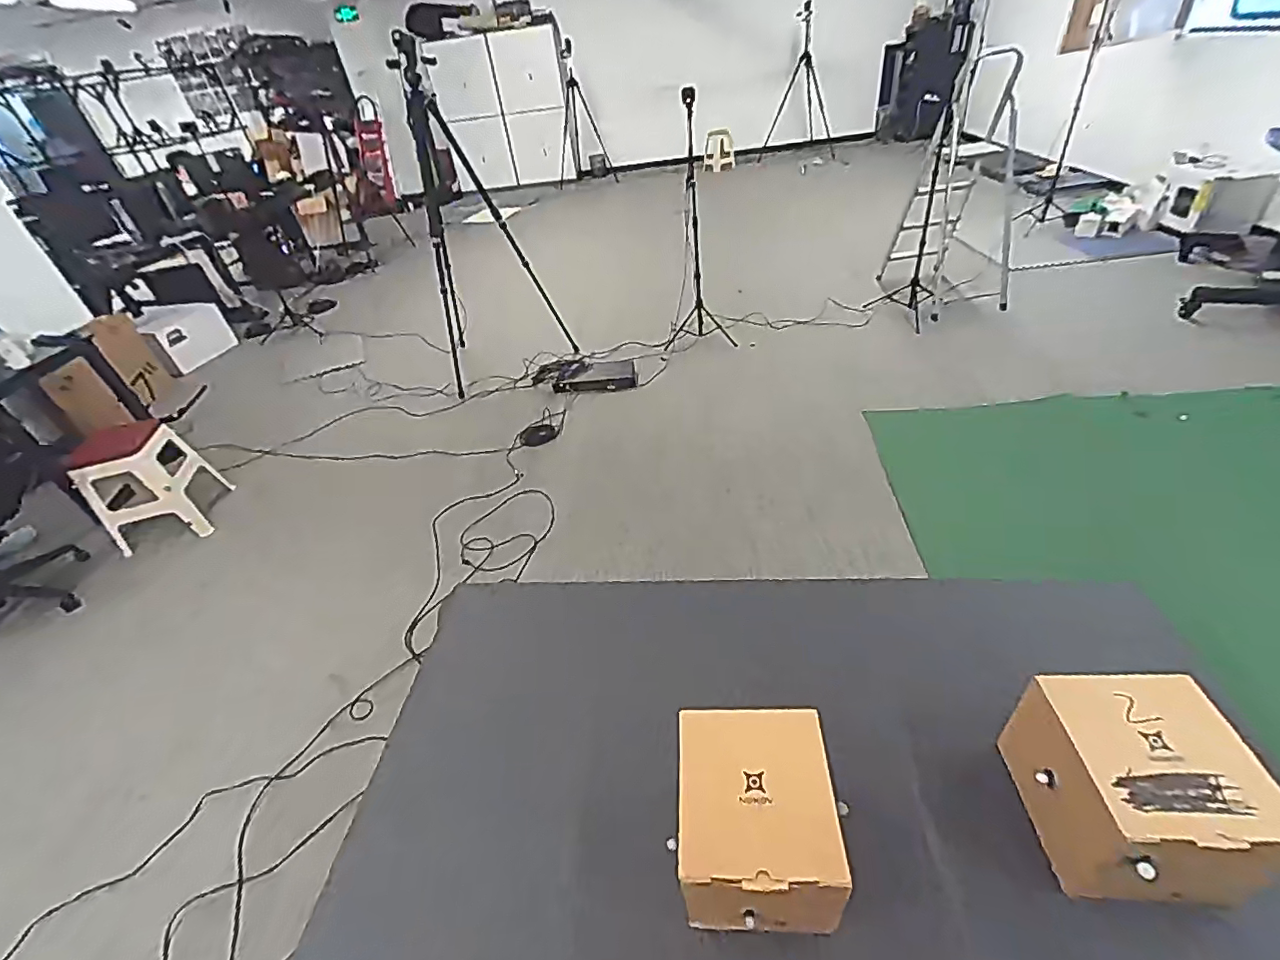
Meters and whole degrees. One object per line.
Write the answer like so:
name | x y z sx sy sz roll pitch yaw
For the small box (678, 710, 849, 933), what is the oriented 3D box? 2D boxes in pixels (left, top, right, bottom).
small box | 0.130 0.394 0.632 0.168 0.176 0.179 -3 39 6
